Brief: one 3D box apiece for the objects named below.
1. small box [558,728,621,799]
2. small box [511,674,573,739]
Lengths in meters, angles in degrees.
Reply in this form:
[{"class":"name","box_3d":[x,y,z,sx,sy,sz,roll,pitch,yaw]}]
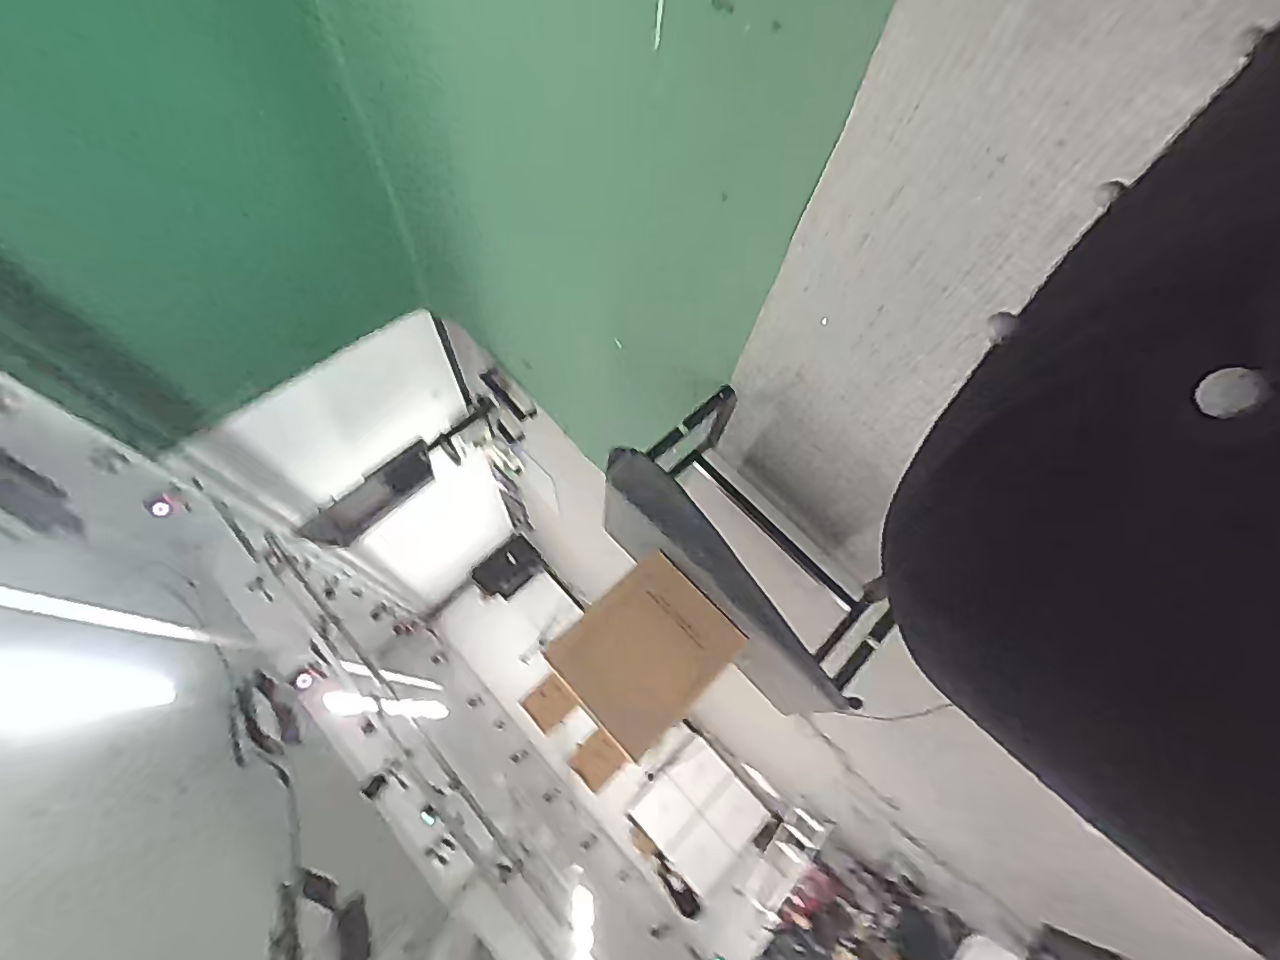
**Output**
[{"class":"small box","box_3d":[-0.186,1.044,2.004,0.168,0.176,0.179,44,156,13]},{"class":"small box","box_3d":[-0.370,0.863,2.064,0.168,0.176,0.179,46,158,15]}]
